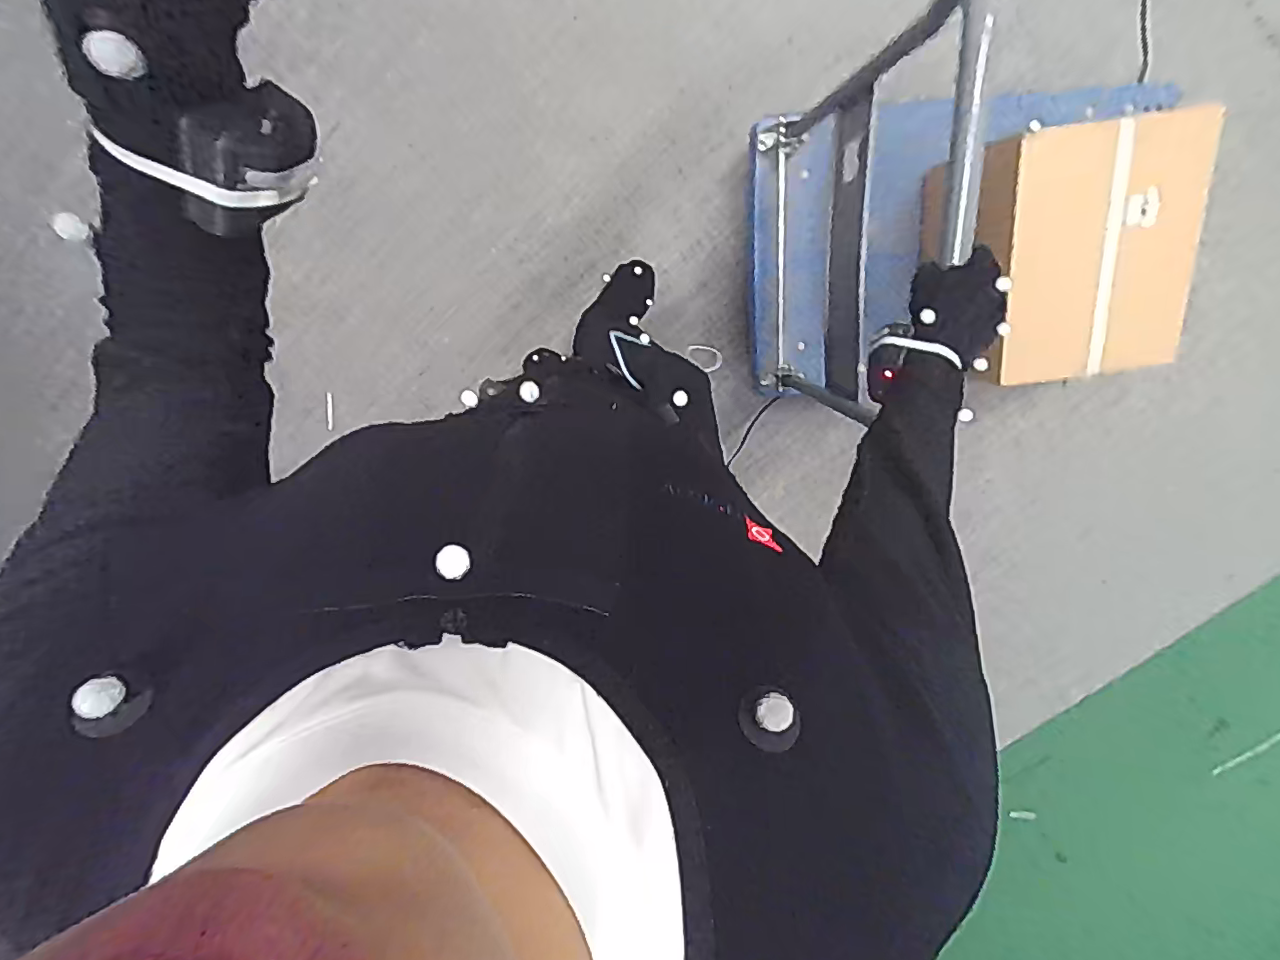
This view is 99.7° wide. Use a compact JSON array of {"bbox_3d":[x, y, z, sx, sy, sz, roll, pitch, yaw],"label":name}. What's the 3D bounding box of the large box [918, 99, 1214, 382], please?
[{"bbox_3d":[0.763,-0.429,1.041,0.320,0.320,0.408,-8,109,1],"label":"large box"}]
